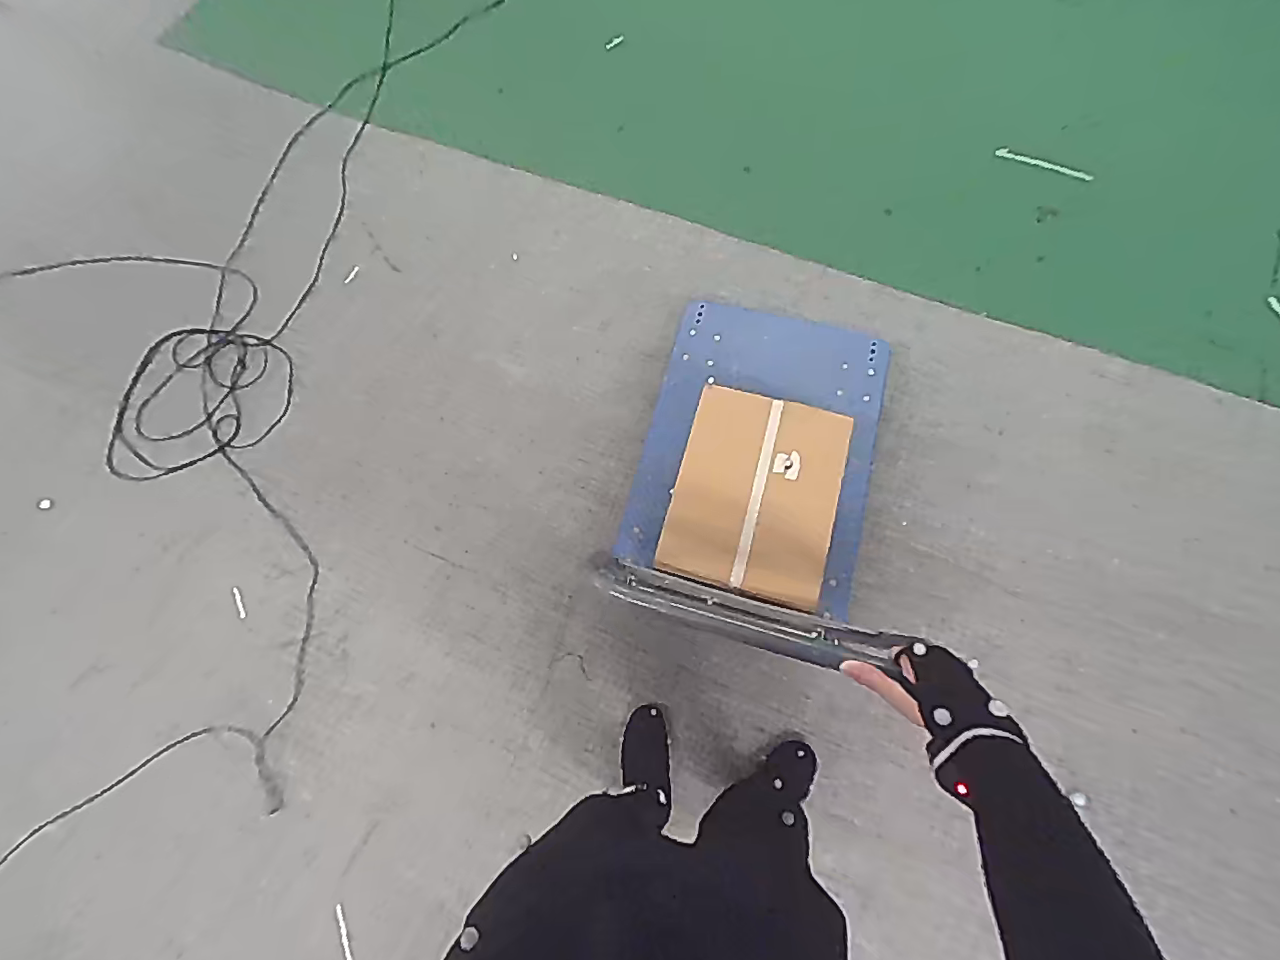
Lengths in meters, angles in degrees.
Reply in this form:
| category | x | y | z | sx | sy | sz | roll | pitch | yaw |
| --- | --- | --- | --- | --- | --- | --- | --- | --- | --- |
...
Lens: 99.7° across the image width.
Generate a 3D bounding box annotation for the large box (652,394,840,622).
| category | x | y | z | sx | sy | sz | roll | pitch | yaw |
| --- | --- | --- | --- | --- | --- | --- | --- | --- | --- |
| large box | 0.227 | 0.079 | 1.225 | 0.320 | 0.320 | 0.408 | 15 | 73 | 7 |
